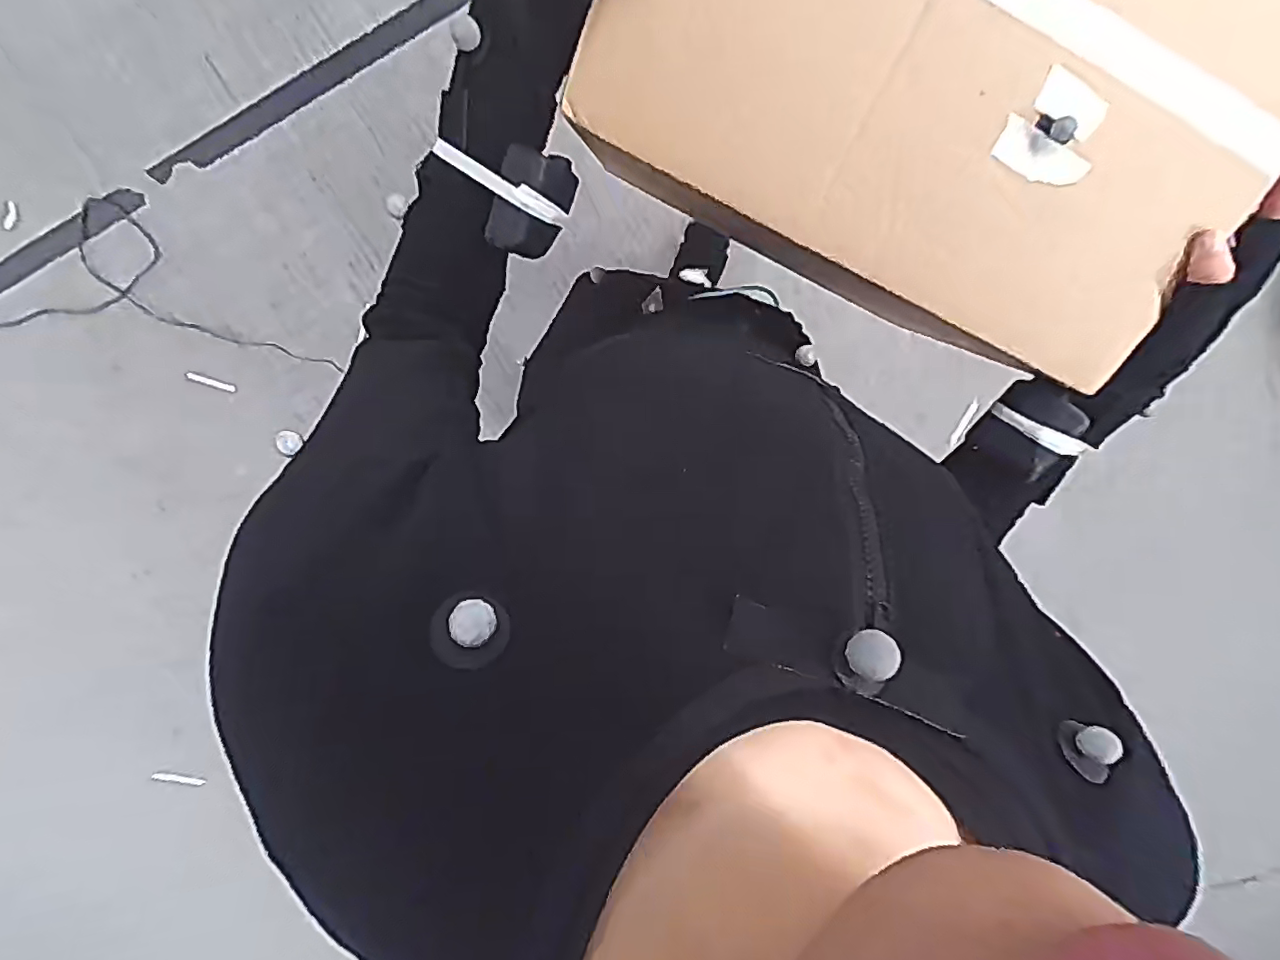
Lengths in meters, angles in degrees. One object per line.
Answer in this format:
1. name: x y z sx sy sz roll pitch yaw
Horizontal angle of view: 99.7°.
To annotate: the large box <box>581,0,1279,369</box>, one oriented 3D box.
1. large box: 0.204 -0.339 0.439 0.408 0.320 0.320 23 114 -9
